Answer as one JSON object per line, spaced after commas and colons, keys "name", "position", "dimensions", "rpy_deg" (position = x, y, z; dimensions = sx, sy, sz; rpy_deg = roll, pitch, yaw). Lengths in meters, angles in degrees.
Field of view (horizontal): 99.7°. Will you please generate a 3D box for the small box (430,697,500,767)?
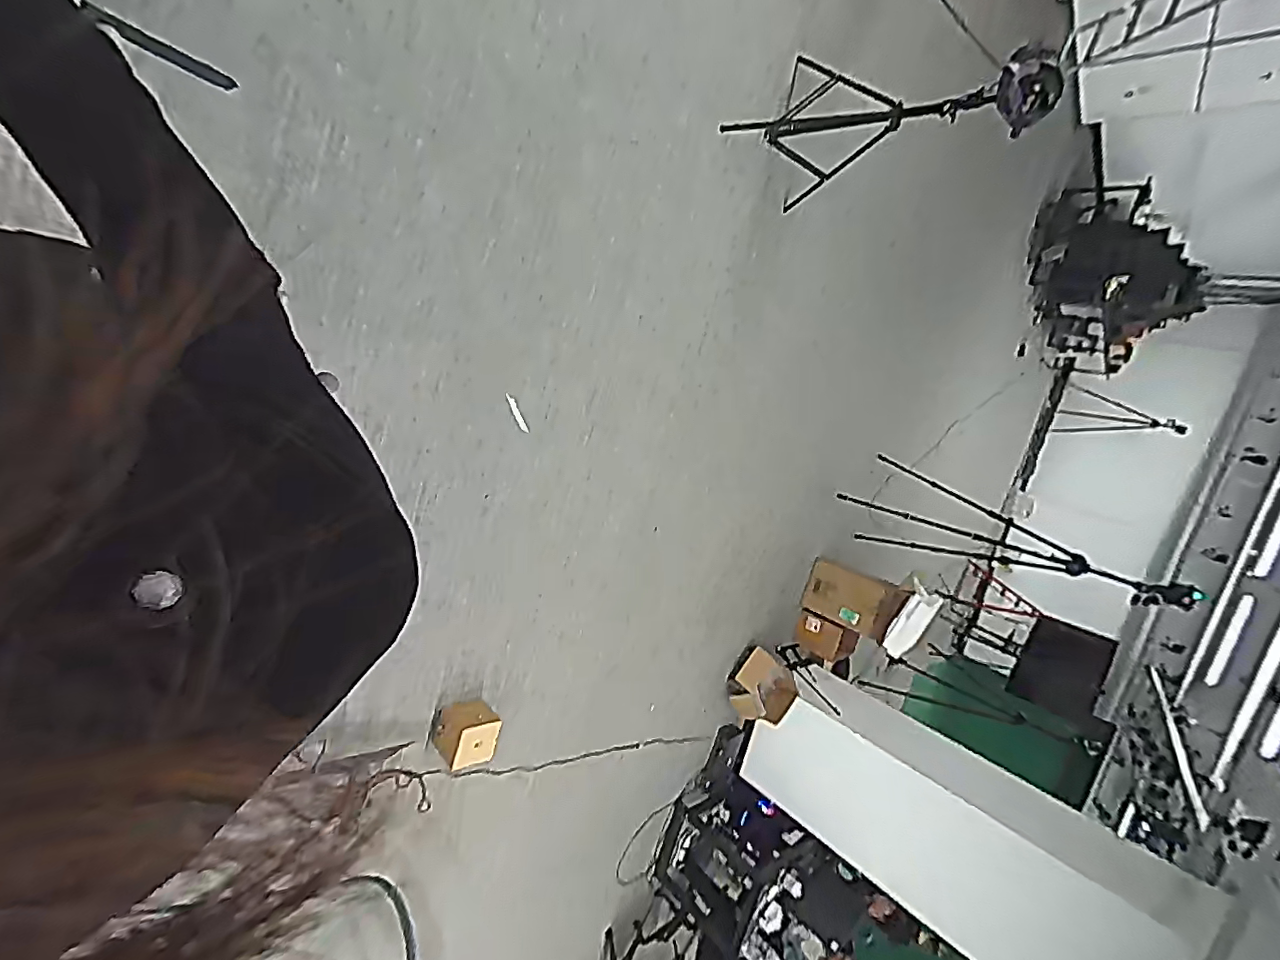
{"name": "small box", "position": [-0.679, 0.964, 2.091], "dimensions": [0.179, 0.176, 0.168], "rpy_deg": [11, 98, -49]}
